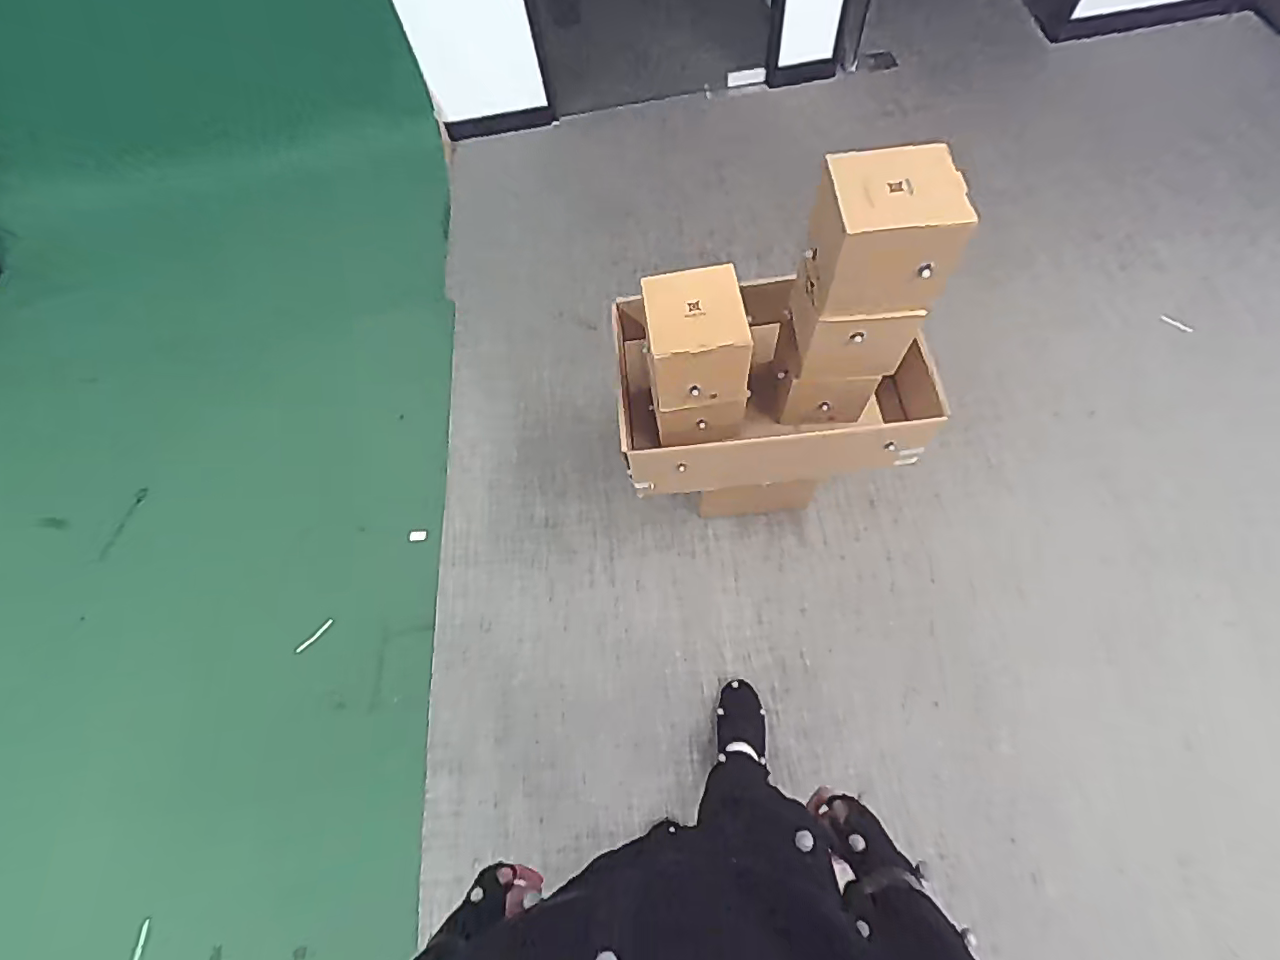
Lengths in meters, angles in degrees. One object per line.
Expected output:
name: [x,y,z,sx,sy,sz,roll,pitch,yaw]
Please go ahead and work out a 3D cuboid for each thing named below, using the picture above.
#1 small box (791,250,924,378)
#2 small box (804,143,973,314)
small box: [0.375,-0.299,0.972,0.179,0.176,0.168,-3,65,4]
small box: [0.364,-0.376,0.829,0.179,0.176,0.168,-4,64,5]
